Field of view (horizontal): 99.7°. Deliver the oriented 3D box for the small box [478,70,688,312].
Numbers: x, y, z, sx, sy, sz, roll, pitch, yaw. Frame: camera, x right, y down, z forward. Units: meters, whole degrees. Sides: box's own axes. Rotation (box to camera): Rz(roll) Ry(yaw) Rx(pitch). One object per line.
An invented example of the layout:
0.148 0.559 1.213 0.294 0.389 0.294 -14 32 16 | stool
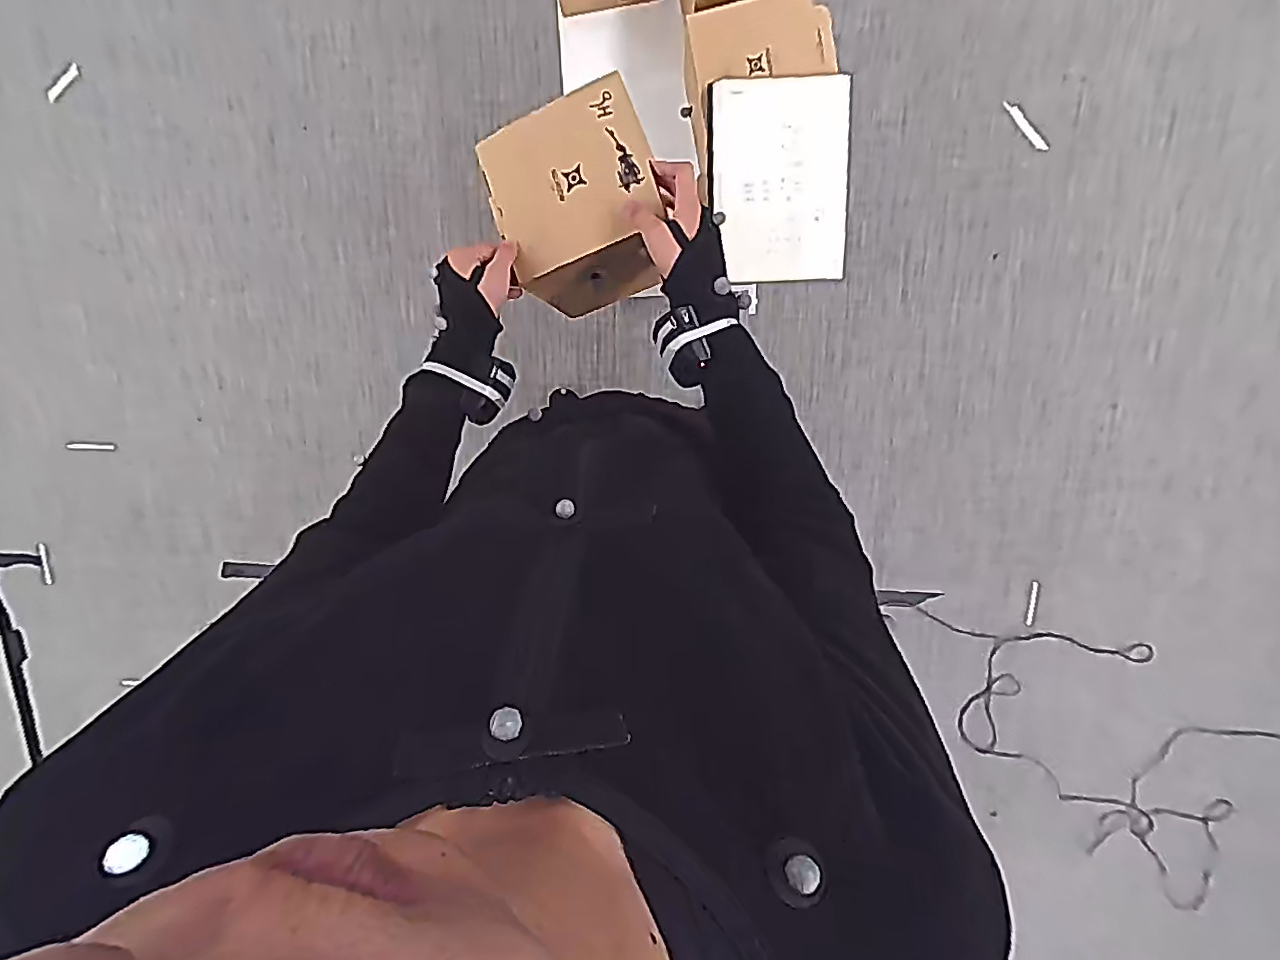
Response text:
-0.057 -0.322 0.649 0.179 0.176 0.168 -18 90 15 | small box
